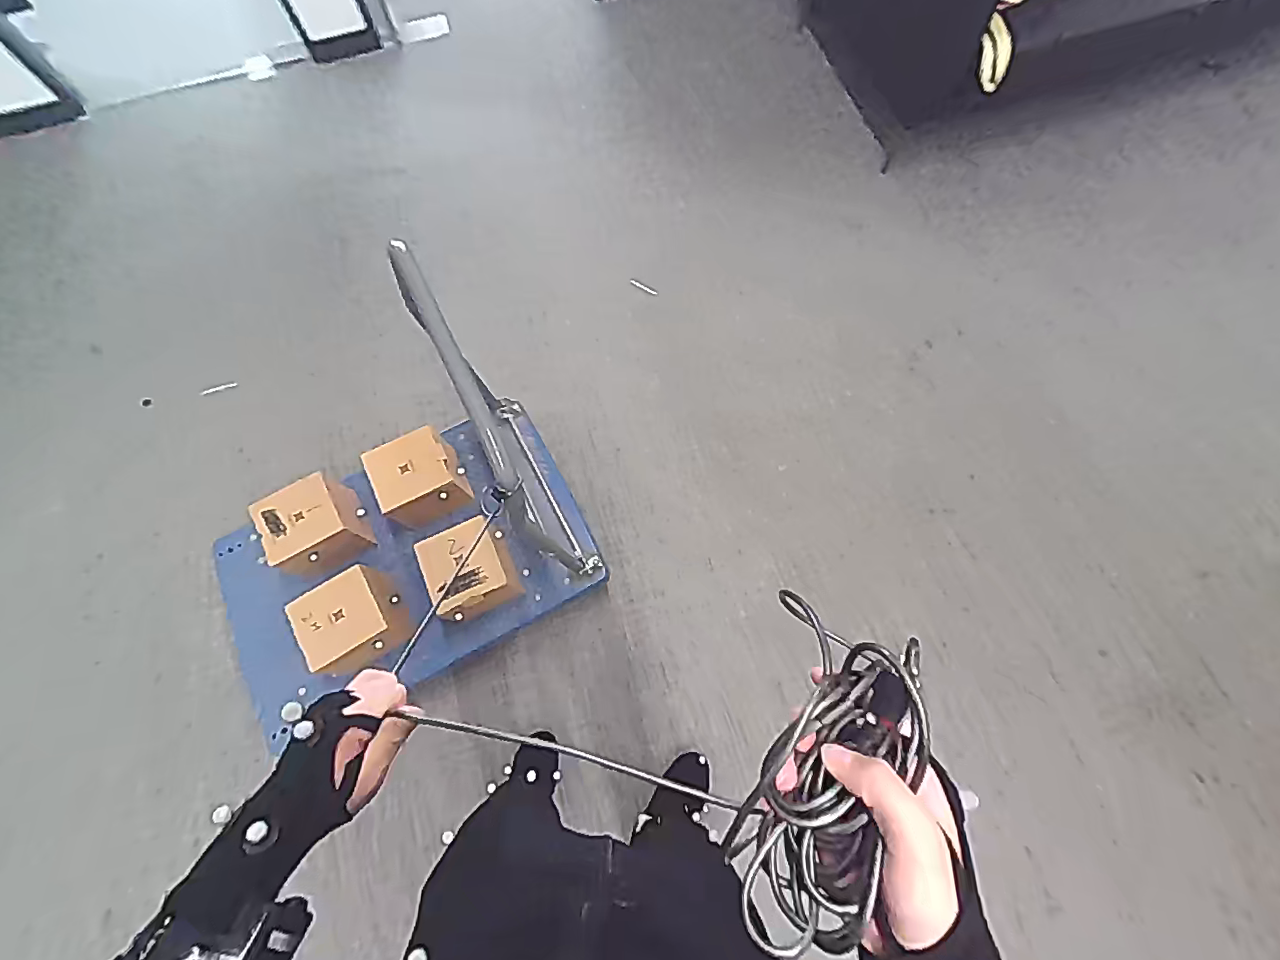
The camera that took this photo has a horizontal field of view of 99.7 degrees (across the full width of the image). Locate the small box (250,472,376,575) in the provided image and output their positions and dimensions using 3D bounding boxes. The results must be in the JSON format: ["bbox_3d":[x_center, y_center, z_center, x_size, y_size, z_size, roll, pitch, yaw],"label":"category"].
[{"bbox_3d":[-0.781,0.113,1.306,0.179,0.176,0.168,-29,73,-9],"label":"small box"}]

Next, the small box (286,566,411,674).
[{"bbox_3d":[-0.649,0.321,1.231,0.179,0.176,0.168,-31,72,-9],"label":"small box"}]

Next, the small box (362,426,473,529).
[{"bbox_3d":[-0.545,0.001,1.342,0.179,0.176,0.168,-26,72,-8],"label":"small box"}]
